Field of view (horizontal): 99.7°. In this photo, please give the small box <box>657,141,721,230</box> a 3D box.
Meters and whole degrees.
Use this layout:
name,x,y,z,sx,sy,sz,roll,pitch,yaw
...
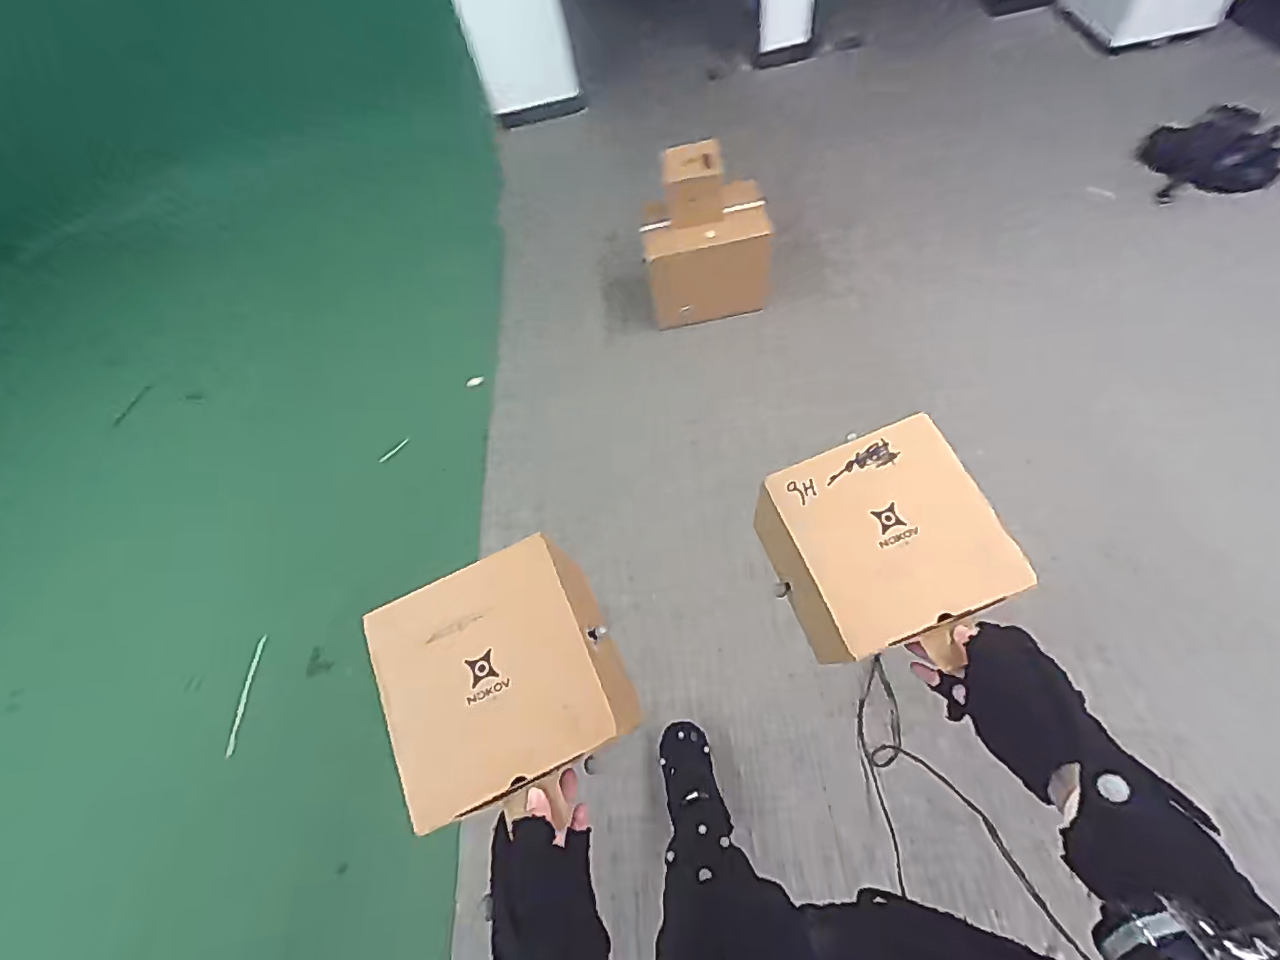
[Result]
name,x,y,z,sx,sy,sz,roll,pitch,yaw
small box,0.157,-0.931,1.721,0.179,0.176,0.168,-10,64,5

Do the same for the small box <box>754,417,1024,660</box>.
name,x,y,z,sx,sy,sz,roll,pitch,yaw
small box,0.229,0.069,0.553,0.168,0.176,0.179,-22,70,0

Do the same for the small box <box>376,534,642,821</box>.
name,x,y,z,sx,sy,sz,roll,pitch,yaw
small box,-0.110,0.179,0.513,0.168,0.176,0.179,-26,67,-2
